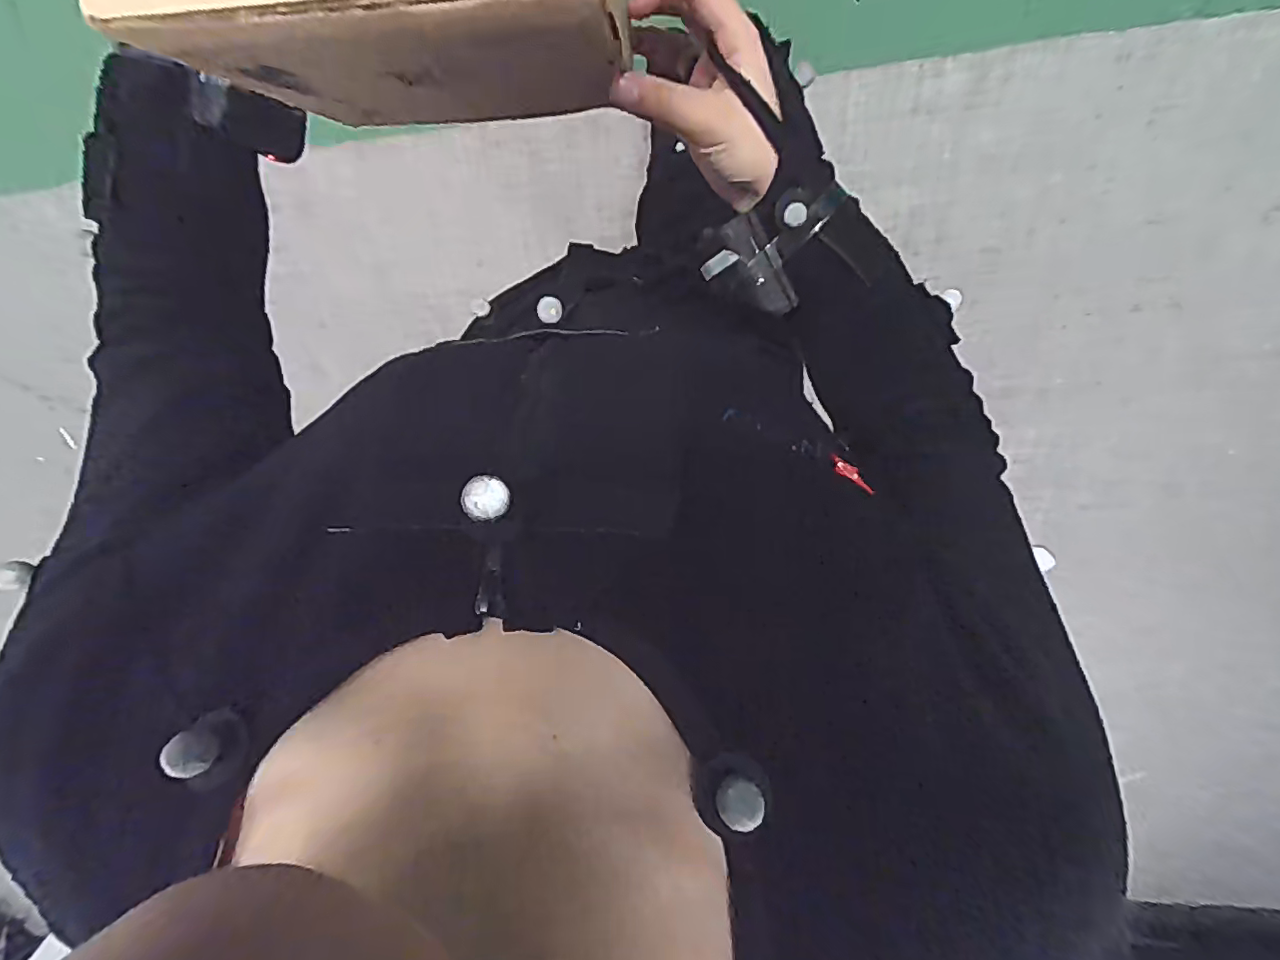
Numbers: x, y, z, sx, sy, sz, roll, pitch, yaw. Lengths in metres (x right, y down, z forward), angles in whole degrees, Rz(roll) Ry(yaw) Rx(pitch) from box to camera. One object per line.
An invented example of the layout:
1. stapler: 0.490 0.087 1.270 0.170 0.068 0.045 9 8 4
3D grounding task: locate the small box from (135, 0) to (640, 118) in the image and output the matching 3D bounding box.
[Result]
1. small box: -0.095 -0.272 0.222 0.179 0.168 0.176 -2 112 3
